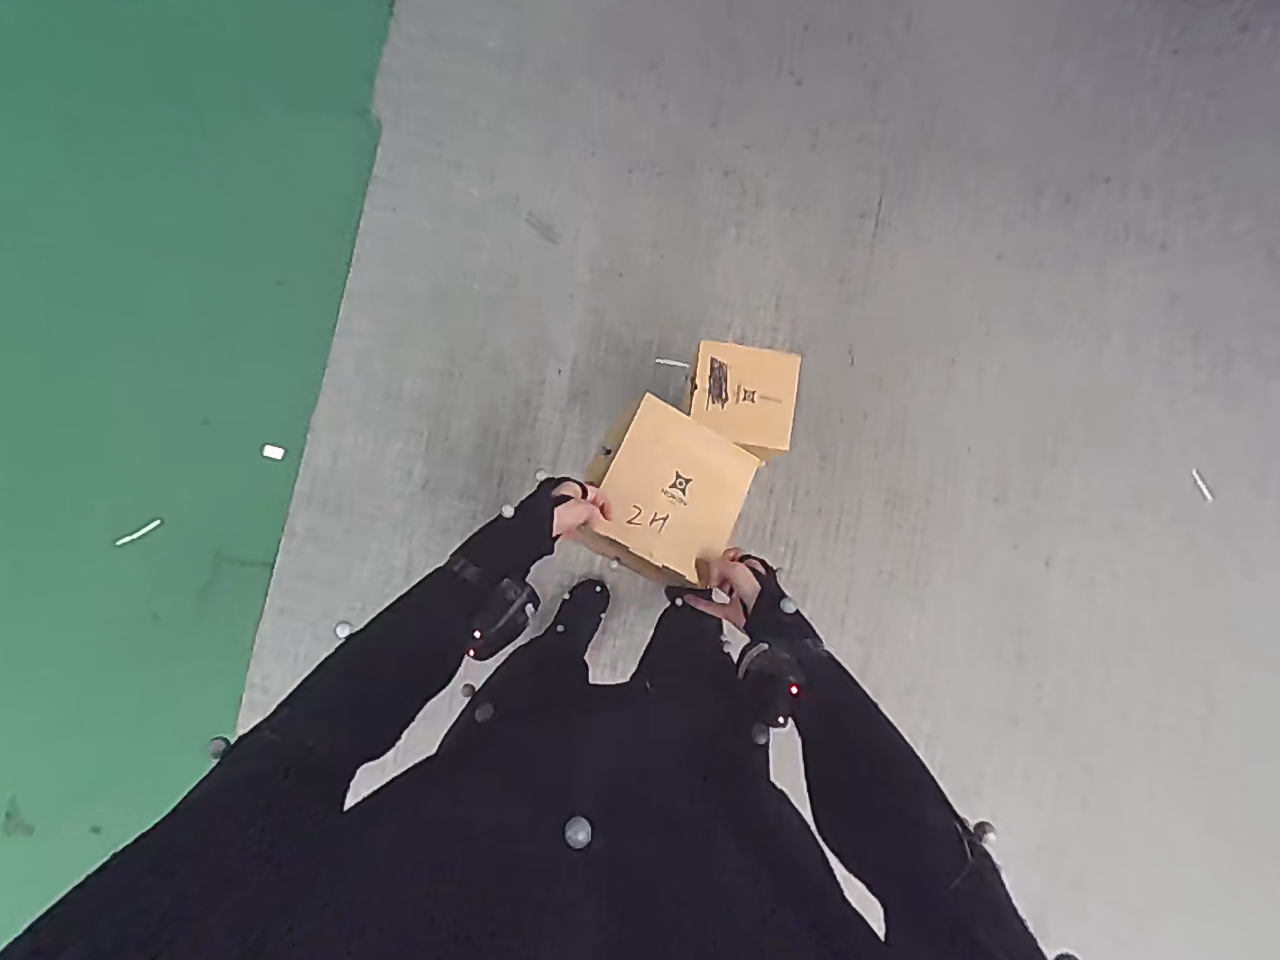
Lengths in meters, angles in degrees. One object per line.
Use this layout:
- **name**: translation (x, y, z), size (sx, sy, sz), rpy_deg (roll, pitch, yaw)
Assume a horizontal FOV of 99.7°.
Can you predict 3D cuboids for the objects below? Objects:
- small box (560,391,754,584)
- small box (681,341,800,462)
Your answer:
- **small box**: translation (0.013, 0.021, 0.694), size (0.168, 0.176, 0.179), rpy_deg (28, 72, -12)
- **small box**: translation (0.166, -0.131, 0.974), size (0.179, 0.176, 0.168), rpy_deg (10, 85, -1)
